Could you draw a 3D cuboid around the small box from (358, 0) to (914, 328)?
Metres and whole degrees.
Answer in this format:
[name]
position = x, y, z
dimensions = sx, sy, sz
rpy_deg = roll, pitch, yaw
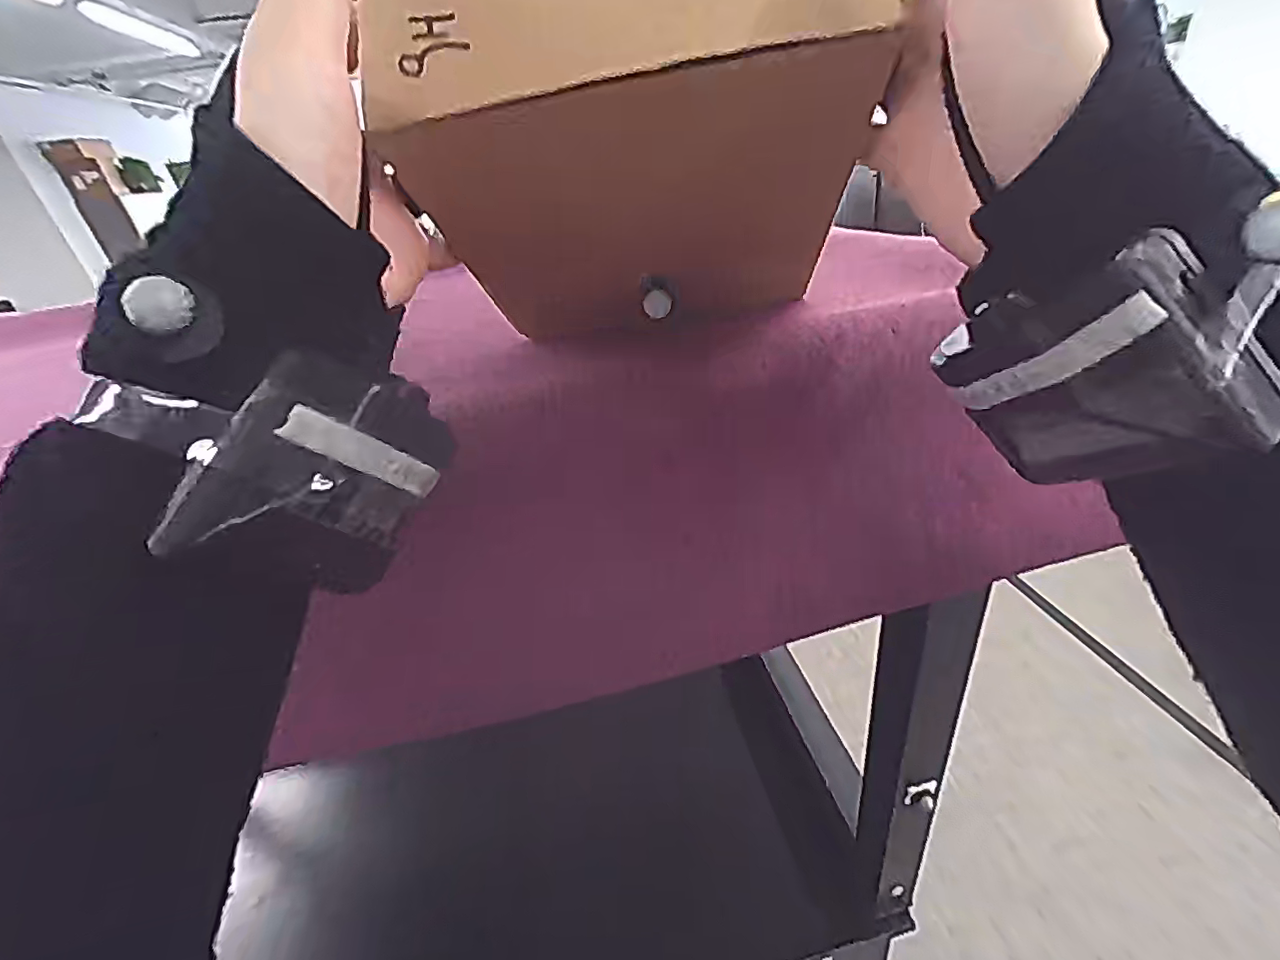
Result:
[small box]
position = -0.005, -0.191, 0.257
dimensions = 0.179, 0.168, 0.176
rpy_deg = -7, -9, 4
